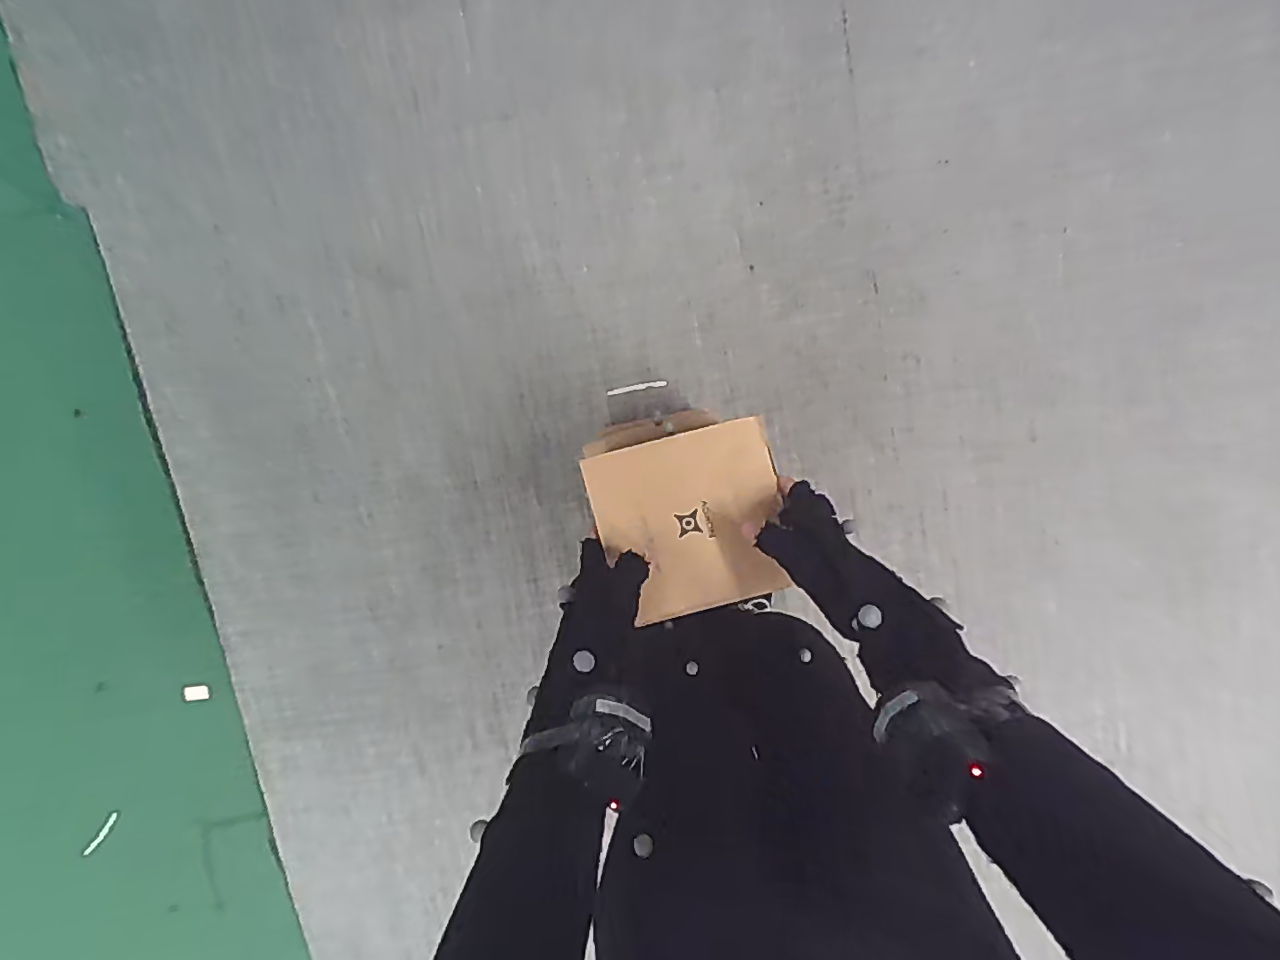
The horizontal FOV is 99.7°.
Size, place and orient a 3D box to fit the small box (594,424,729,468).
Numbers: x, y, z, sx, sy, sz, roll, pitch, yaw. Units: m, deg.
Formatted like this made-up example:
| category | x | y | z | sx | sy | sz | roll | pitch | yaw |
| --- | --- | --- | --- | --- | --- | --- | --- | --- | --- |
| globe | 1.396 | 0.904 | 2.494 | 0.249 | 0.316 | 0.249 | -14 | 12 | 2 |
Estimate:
| category | x | y | z | sx | sy | sz | roll | pitch | yaw |
| --- | --- | --- | --- | --- | --- | --- | --- | --- | --- |
| small box | 0.041 | 0.018 | 0.763 | 0.179 | 0.176 | 0.168 | -14 | 97 | 2 |

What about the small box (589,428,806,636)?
| category | x | y | z | sx | sy | sz | roll | pitch | yaw |
| --- | --- | --- | --- | --- | --- | --- | --- | --- | --- |
| small box | 0.054 | 0.047 | 0.586 | 0.179 | 0.176 | 0.168 | -15 | 90 | 2 |
